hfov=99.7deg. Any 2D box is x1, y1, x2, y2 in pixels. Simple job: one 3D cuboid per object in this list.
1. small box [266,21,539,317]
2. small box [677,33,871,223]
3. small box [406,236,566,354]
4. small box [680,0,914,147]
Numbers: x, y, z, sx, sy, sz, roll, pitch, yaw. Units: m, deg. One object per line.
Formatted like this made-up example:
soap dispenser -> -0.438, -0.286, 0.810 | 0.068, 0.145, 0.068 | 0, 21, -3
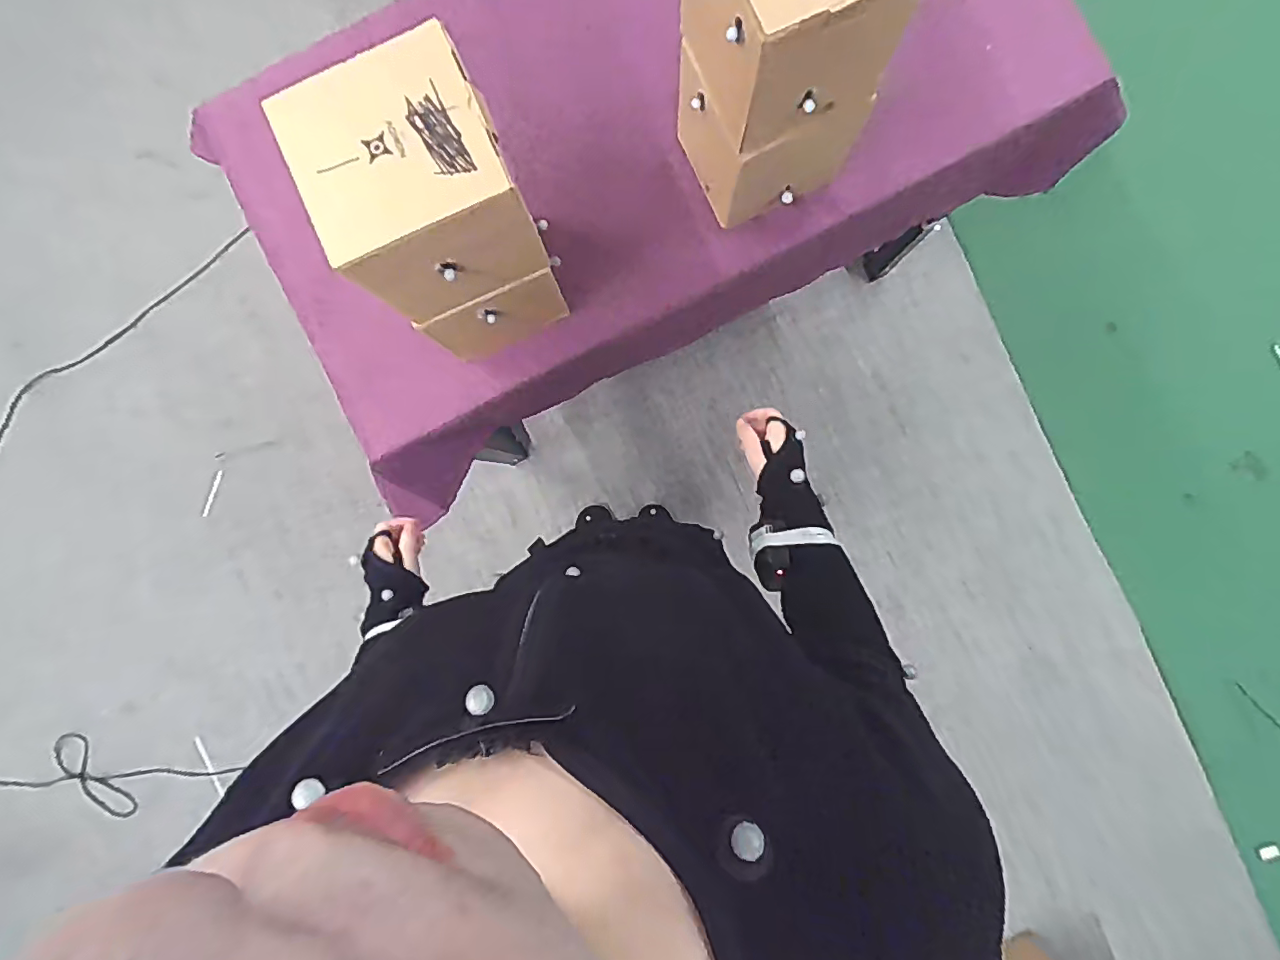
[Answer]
small box -> -0.217, -0.294, 0.553 | 0.179, 0.176, 0.168 | -24, 89, 3
small box -> 0.159, -0.478, 0.706 | 0.179, 0.176, 0.168 | -25, 88, 1
small box -> -0.216, -0.287, 0.716 | 0.179, 0.176, 0.168 | -23, 89, 1
small box -> 0.147, -0.489, 0.543 | 0.168, 0.176, 0.179 | -24, 89, 2
